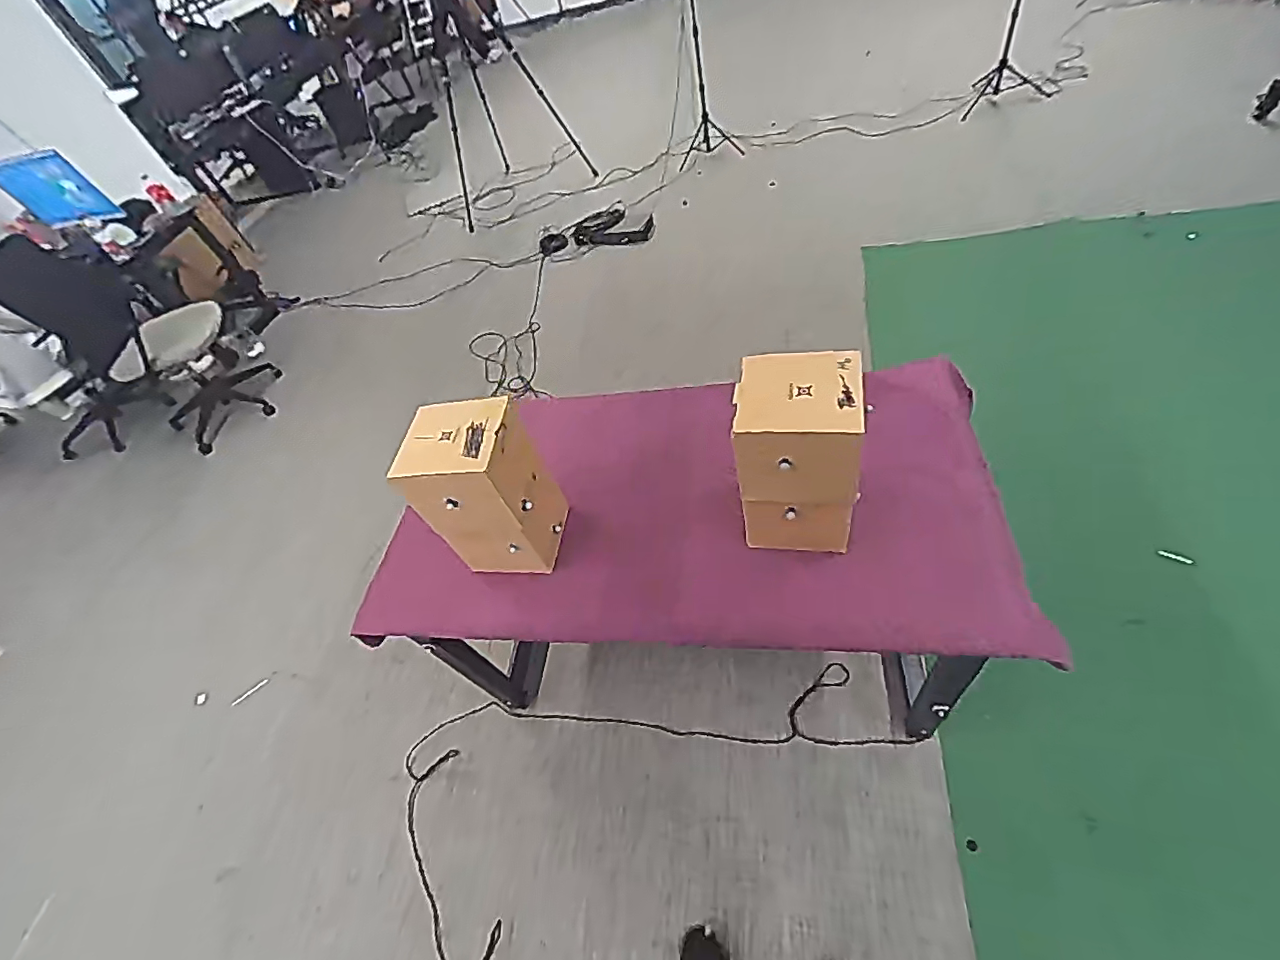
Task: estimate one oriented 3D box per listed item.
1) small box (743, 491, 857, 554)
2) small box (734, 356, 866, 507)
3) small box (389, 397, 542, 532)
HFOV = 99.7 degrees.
[{"bbox_3d":[0.287,0.021,0.970,0.179,0.176,0.168,2,53,18],"label":"small box"},{"bbox_3d":[0.251,-0.071,0.839,0.179,0.176,0.168,2,53,18],"label":"small box"},{"bbox_3d":[-0.287,-0.022,0.937,0.179,0.176,0.168,-3,51,12],"label":"small box"}]
